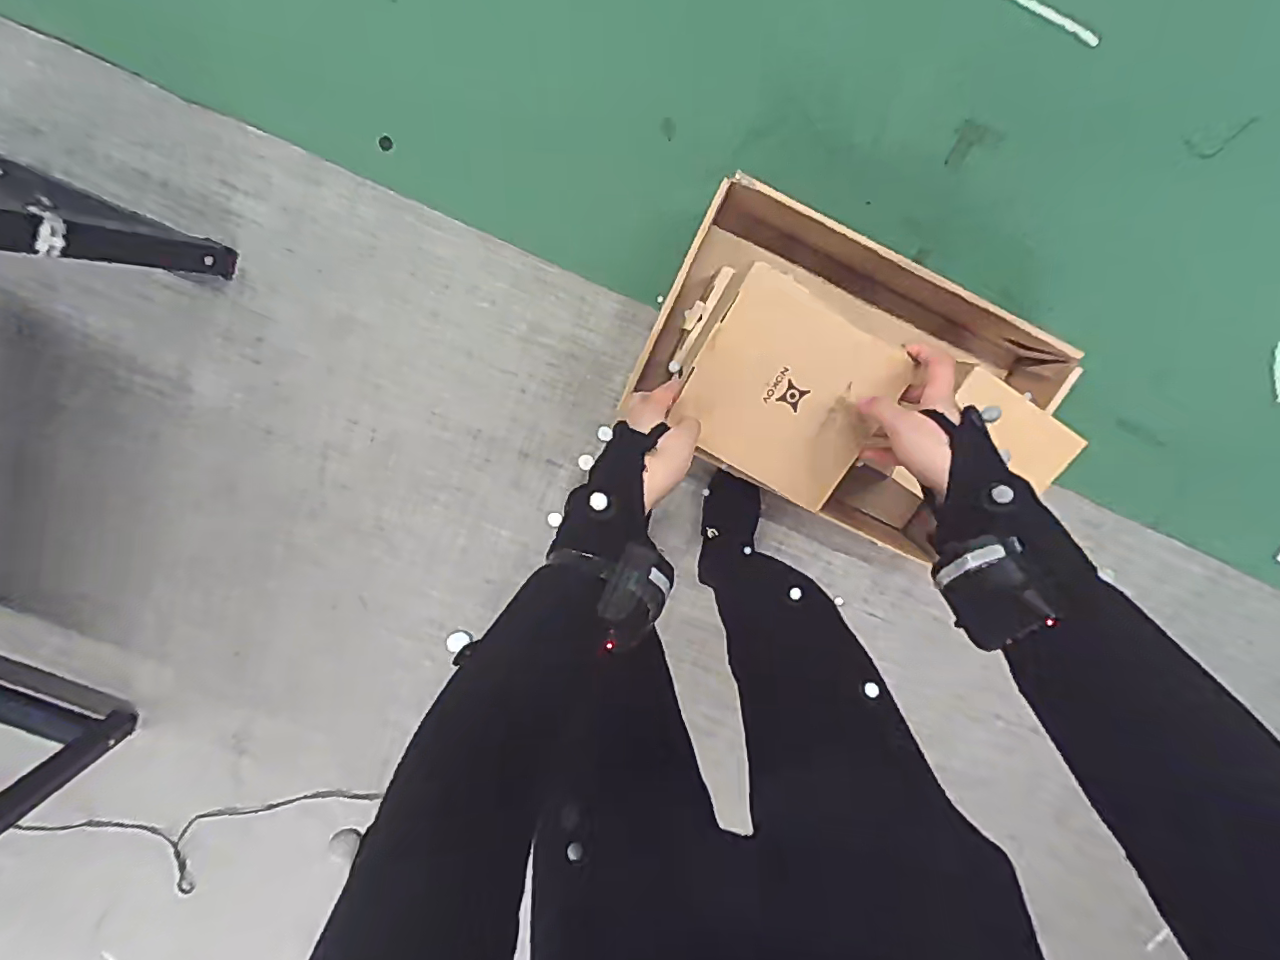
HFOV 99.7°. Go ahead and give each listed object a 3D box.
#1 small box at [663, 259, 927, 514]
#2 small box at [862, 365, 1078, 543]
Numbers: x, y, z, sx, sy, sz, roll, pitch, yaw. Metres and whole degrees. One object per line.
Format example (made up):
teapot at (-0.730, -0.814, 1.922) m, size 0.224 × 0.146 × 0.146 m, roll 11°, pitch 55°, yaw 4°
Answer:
small box at (0.136, -0.097, 0.552) m, size 0.179 × 0.176 × 0.168 m, roll 30°, pitch 106°, yaw -7°
small box at (0.431, -0.048, 0.753) m, size 0.179 × 0.176 × 0.168 m, roll 33°, pitch 105°, yaw -6°
